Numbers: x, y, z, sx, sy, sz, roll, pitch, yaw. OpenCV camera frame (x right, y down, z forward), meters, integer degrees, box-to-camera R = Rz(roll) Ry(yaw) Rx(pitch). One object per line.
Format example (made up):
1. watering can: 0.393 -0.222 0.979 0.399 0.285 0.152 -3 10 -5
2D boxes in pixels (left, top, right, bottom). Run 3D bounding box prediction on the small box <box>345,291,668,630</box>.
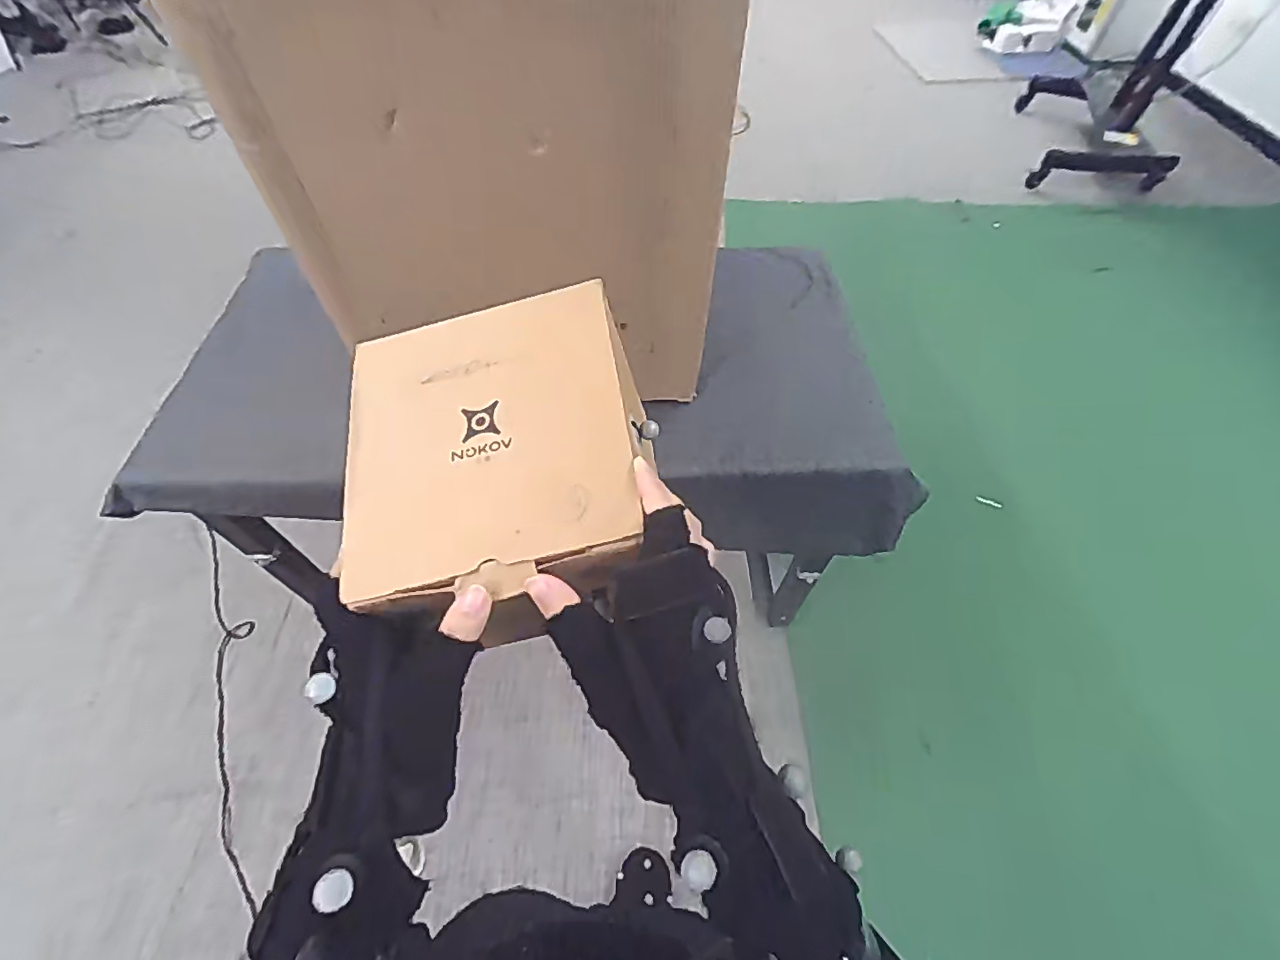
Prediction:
1. small box: -0.080 0.003 0.392 0.168 0.176 0.179 -13 64 4
